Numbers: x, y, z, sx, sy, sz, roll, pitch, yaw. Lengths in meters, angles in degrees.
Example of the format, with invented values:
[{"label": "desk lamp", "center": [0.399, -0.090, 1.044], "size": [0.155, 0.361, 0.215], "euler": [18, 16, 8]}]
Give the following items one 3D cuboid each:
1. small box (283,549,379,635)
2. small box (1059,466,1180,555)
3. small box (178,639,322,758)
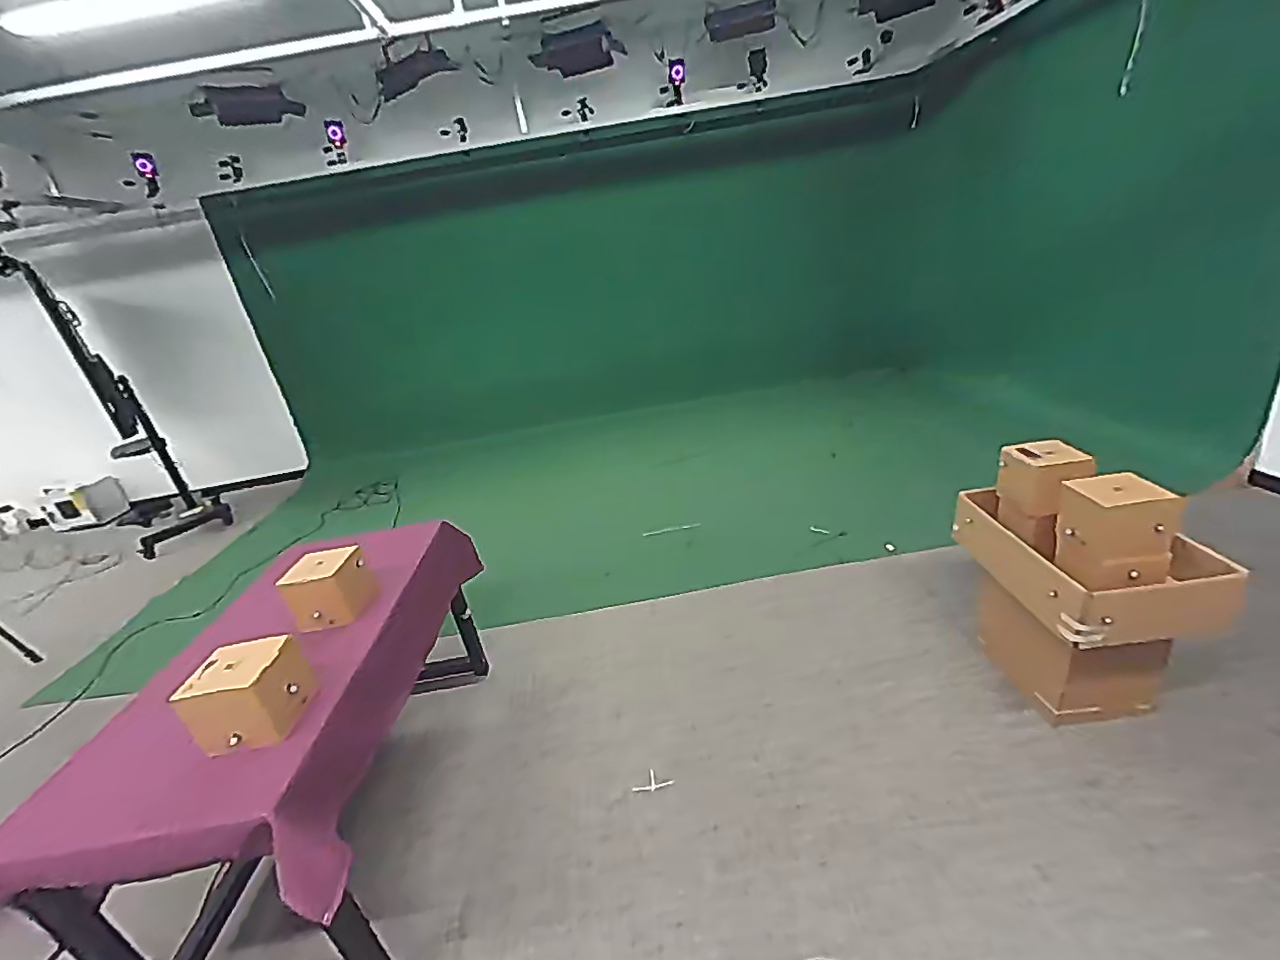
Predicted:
[{"label": "small box", "center": [-0.905, 0.332, 1.608], "size": [0.168, 0.176, 0.179], "euler": [-11, 23, 3]}, {"label": "small box", "center": [1.263, 0.080, 1.442], "size": [0.179, 0.176, 0.168], "euler": [-10, 22, 7]}, {"label": "small box", "center": [-0.862, 0.491, 1.219], "size": [0.179, 0.176, 0.168], "euler": [-11, 22, 0]}]
